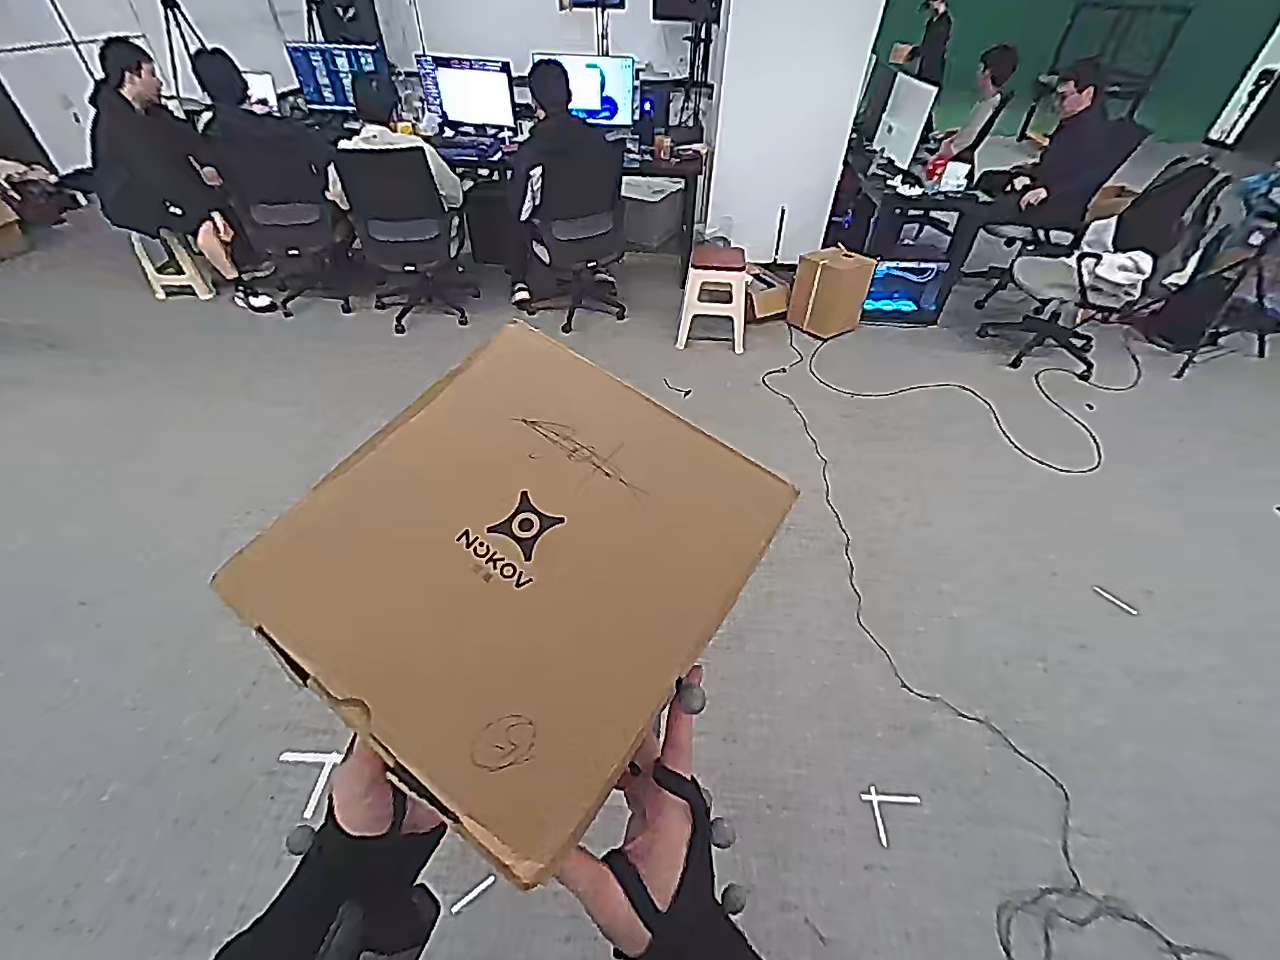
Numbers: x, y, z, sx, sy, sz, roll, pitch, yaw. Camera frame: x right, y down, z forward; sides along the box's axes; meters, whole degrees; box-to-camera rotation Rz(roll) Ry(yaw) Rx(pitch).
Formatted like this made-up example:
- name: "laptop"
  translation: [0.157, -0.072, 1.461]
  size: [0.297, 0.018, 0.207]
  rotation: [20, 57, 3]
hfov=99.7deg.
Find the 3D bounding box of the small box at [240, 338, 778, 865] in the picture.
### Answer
- name: "small box"
  translation: [-0.050, 0.065, 0.301]
  size: [0.168, 0.176, 0.179]
  rotation: [31, 65, 15]
